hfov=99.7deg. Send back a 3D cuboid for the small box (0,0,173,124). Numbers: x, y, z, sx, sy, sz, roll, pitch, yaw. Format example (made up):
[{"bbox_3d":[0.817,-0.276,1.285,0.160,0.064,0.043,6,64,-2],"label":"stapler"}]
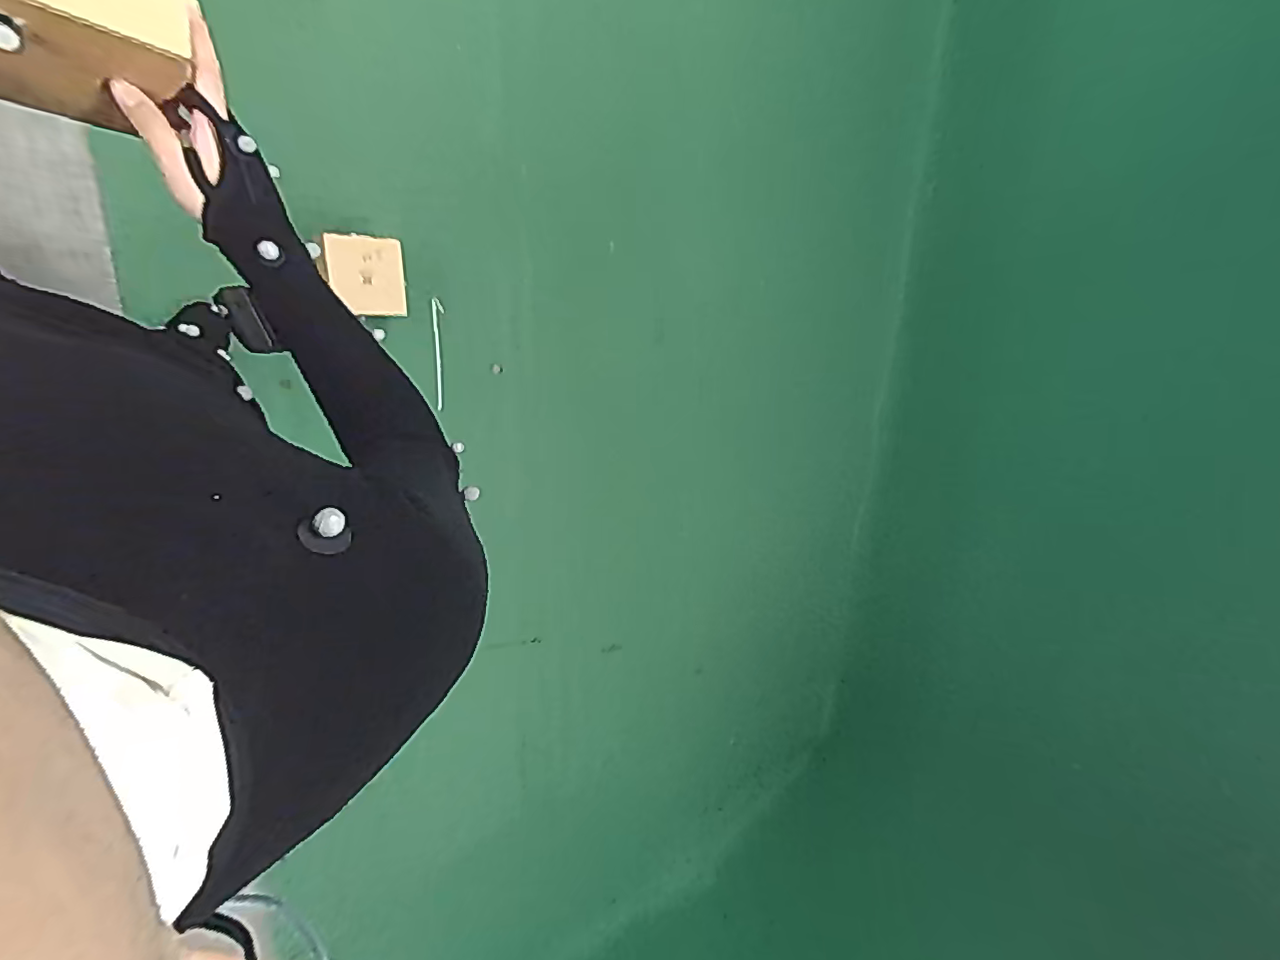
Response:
[{"bbox_3d":[-0.454,-0.385,0.376,0.179,0.176,0.168,-6,97,-44],"label":"small box"}]

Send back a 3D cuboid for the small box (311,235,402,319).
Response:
[{"bbox_3d":[-0.698,-0.492,1.331,0.168,0.176,0.179,-10,110,-36],"label":"small box"}]
